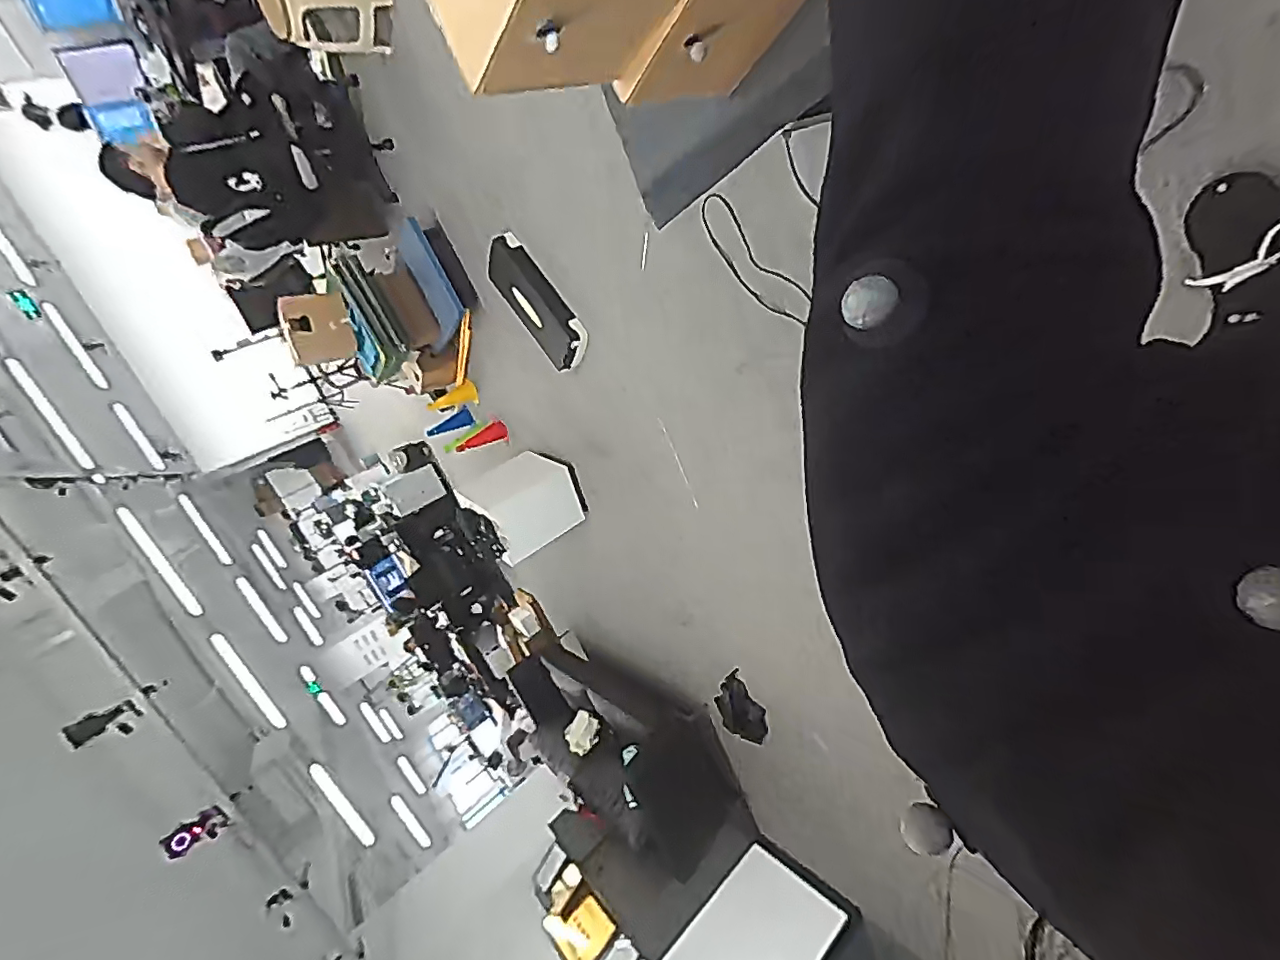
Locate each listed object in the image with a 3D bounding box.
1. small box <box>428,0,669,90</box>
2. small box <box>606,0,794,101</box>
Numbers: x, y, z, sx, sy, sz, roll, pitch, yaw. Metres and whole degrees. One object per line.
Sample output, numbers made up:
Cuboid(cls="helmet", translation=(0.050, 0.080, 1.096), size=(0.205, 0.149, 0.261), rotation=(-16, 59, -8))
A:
Cuboid(cls="small box", translation=(-0.072, -0.442, 0.413), size=(0.179, 0.176, 0.168), rotation=(-3, 116, 57))
Cuboid(cls="small box", translation=(0.045, -0.506, 0.507), size=(0.179, 0.176, 0.168), rotation=(-16, 103, 61))
